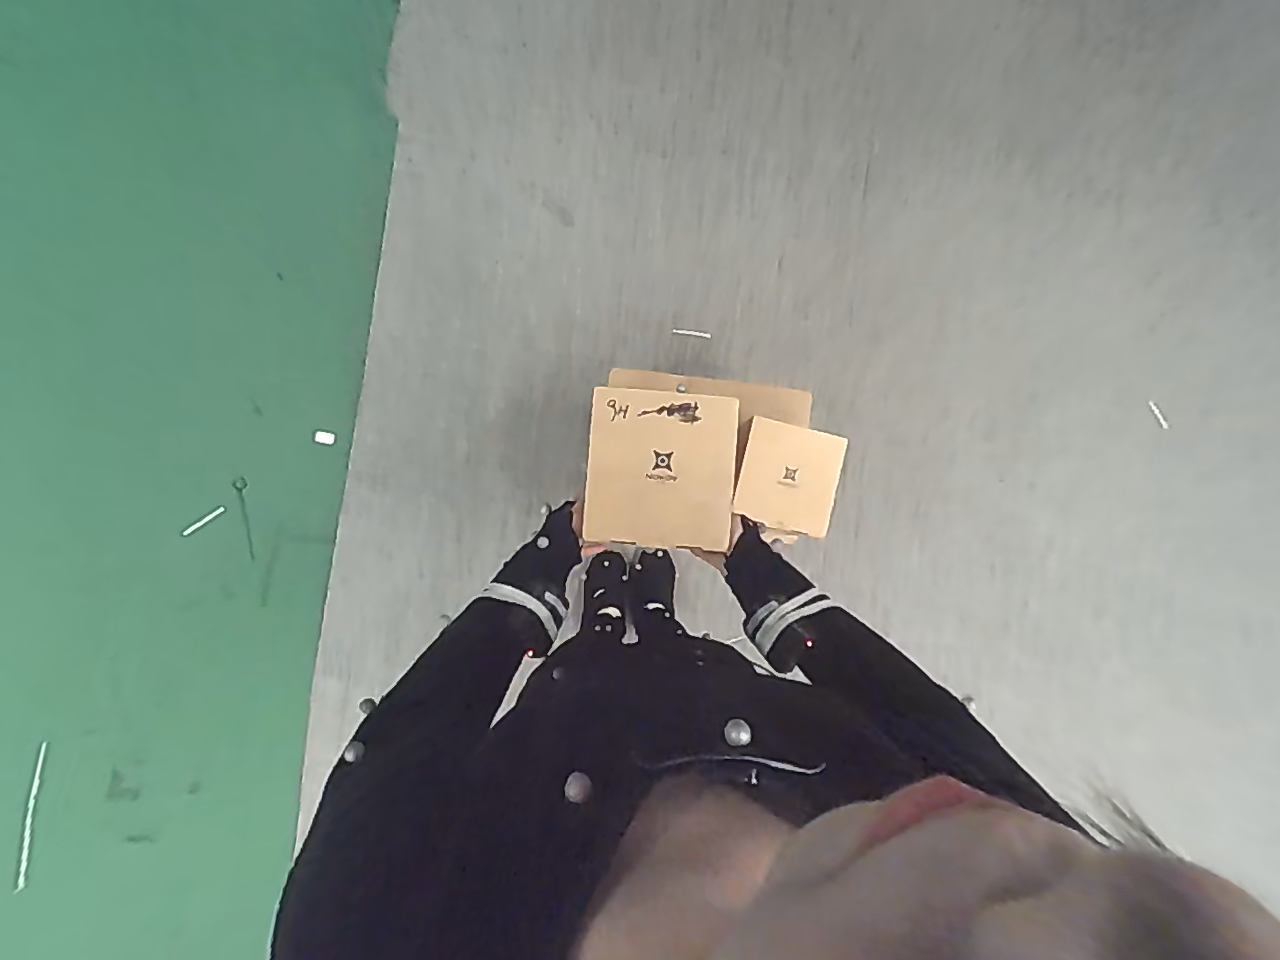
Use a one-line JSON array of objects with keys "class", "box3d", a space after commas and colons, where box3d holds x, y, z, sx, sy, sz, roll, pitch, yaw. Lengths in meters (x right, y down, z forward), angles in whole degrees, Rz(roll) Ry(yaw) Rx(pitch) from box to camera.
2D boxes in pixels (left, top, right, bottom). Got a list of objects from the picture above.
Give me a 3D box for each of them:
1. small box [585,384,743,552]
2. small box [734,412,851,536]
[{"class": "small box", "box3d": [0.025, -0.013, 0.673, 0.168, 0.176, 0.179, 4, 89, -2]}, {"class": "small box", "box3d": [0.249, -0.007, 0.965, 0.168, 0.176, 0.179, 13, 88, -1]}]
